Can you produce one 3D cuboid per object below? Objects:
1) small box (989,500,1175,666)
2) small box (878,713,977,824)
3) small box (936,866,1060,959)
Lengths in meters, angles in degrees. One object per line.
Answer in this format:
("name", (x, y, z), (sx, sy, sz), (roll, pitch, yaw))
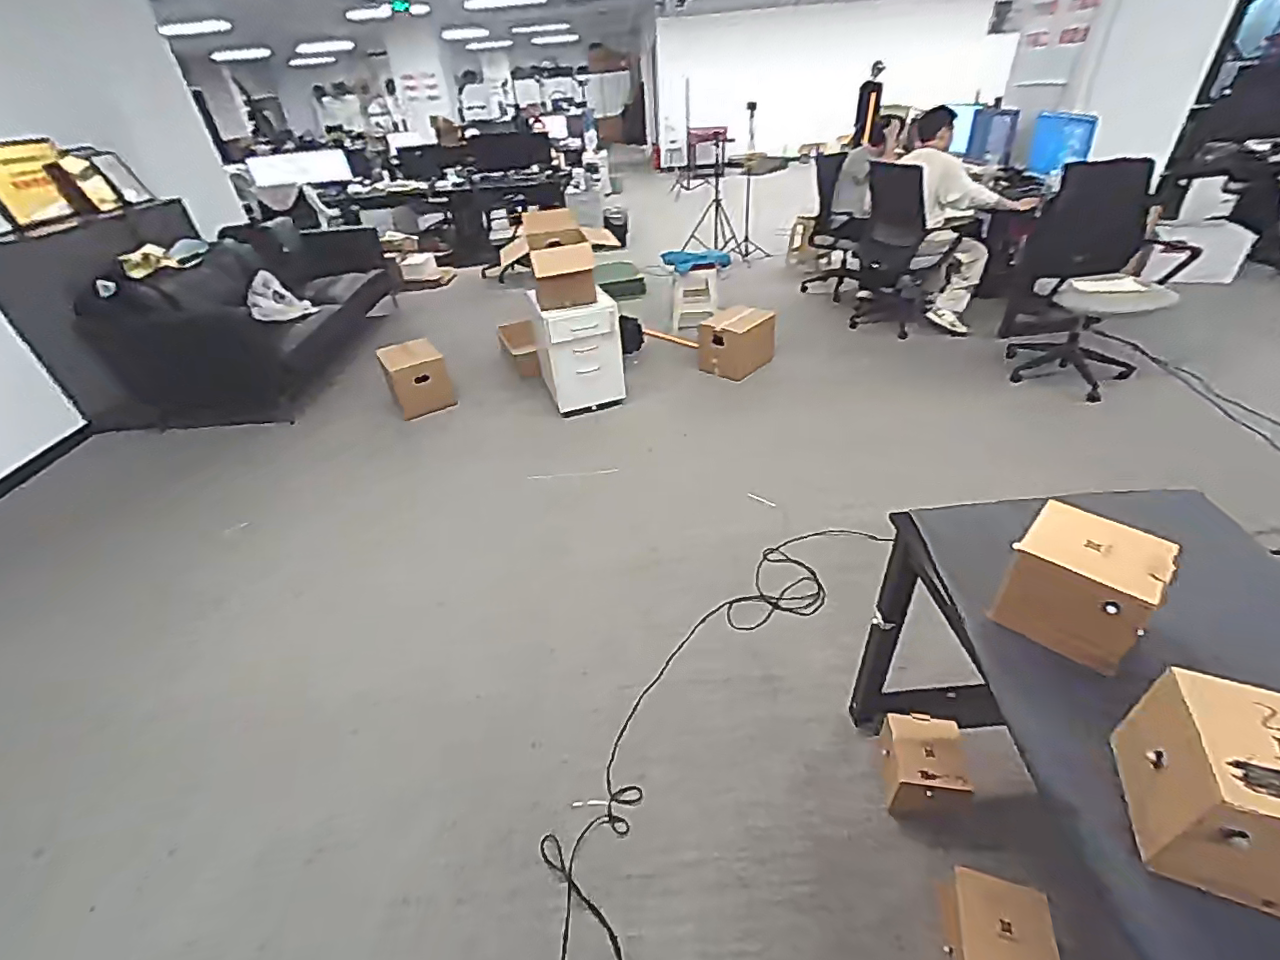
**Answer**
("small box", (0.709, 0.165, 0.883), (0.168, 0.176, 0.179), (-32, 43, -33))
("small box", (0.709, 0.722, 1.358), (0.168, 0.176, 0.179), (3, 35, 11))
("small box", (0.705, 0.924, 1.075), (0.168, 0.176, 0.179), (8, 36, 17))
